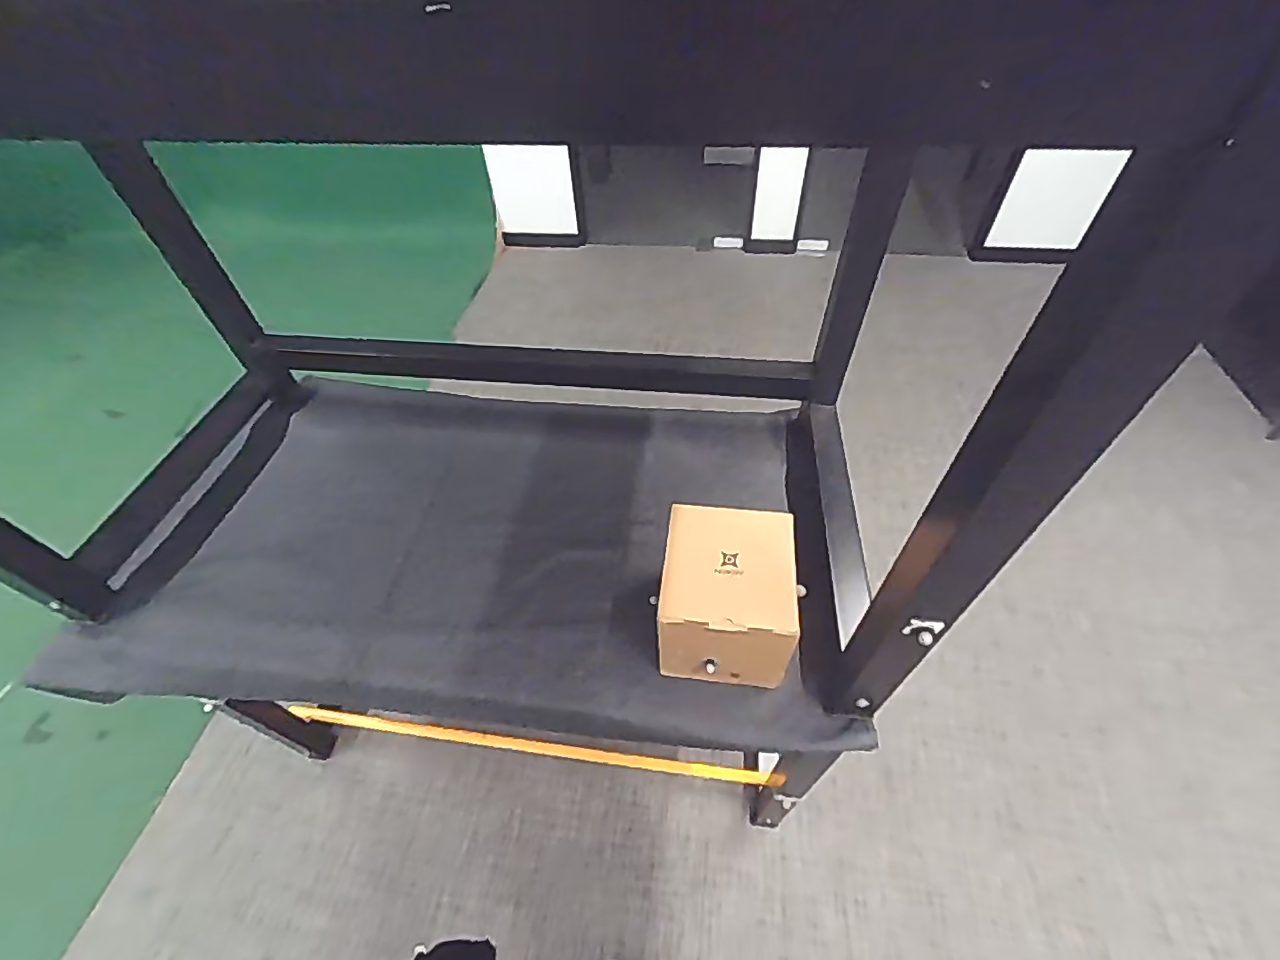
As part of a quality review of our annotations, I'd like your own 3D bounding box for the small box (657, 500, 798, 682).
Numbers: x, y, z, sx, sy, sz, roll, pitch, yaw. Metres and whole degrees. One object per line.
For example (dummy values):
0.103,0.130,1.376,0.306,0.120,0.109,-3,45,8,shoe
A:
0.115,0.151,0.739,0.168,0.176,0.179,4,49,7,small box
